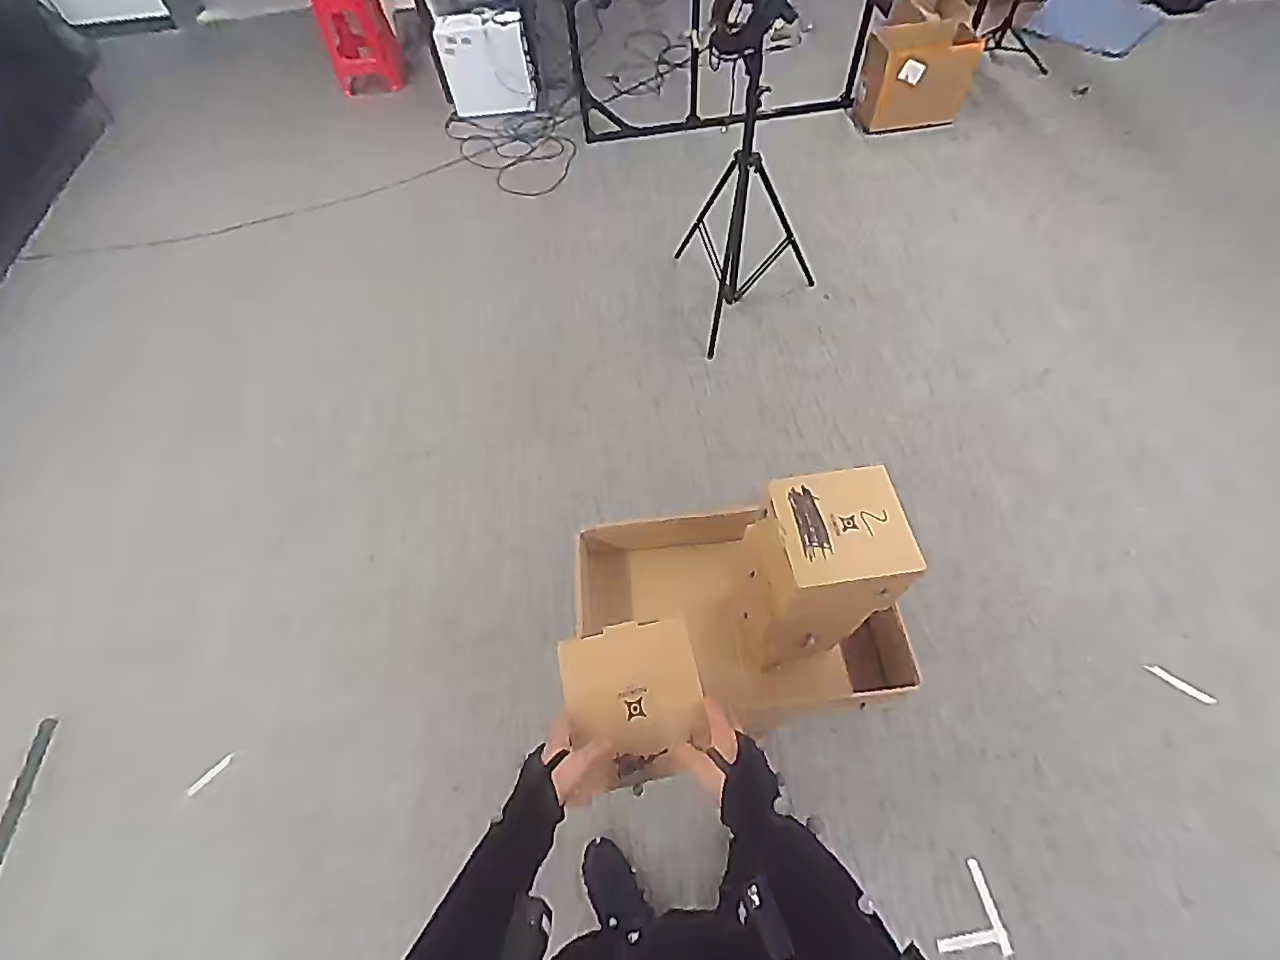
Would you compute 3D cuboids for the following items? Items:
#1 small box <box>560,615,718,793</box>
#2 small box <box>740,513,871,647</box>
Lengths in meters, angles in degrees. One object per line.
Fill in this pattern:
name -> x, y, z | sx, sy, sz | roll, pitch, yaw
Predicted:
small box -> -0.002, 0.293, 0.721 | 0.168, 0.176, 0.179 | -12, 68, -1
small box -> 0.277, 0.179, 0.953 | 0.168, 0.176, 0.179 | -8, 60, 1
